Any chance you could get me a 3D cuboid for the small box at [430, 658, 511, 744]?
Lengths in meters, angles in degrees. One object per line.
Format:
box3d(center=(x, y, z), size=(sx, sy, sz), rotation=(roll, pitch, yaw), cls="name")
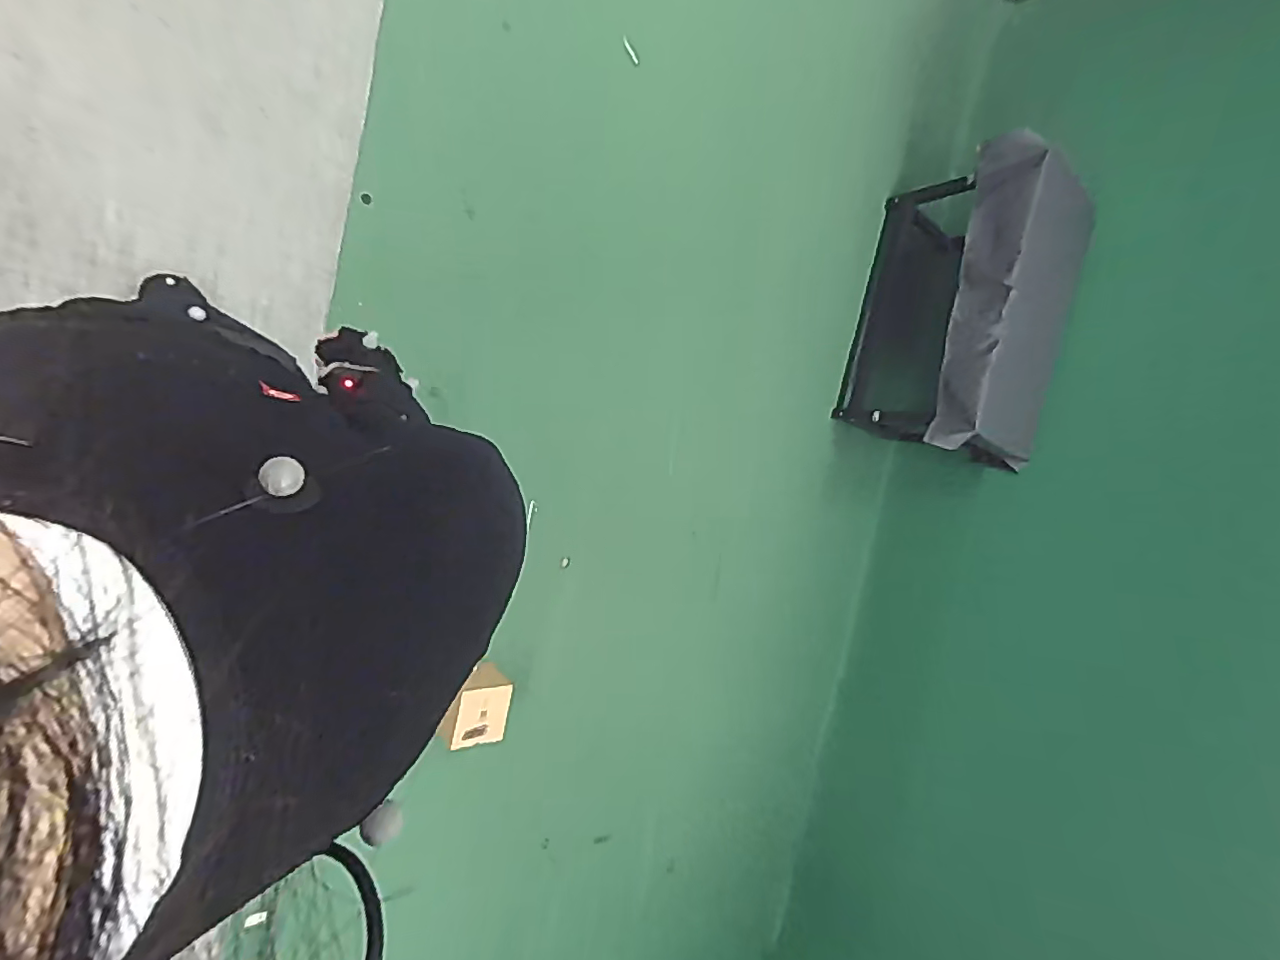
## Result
box3d(center=(-0.521, 0.665, 1.646), size=(0.168, 0.176, 0.179), rotation=(11, 93, -43), cls="small box")
